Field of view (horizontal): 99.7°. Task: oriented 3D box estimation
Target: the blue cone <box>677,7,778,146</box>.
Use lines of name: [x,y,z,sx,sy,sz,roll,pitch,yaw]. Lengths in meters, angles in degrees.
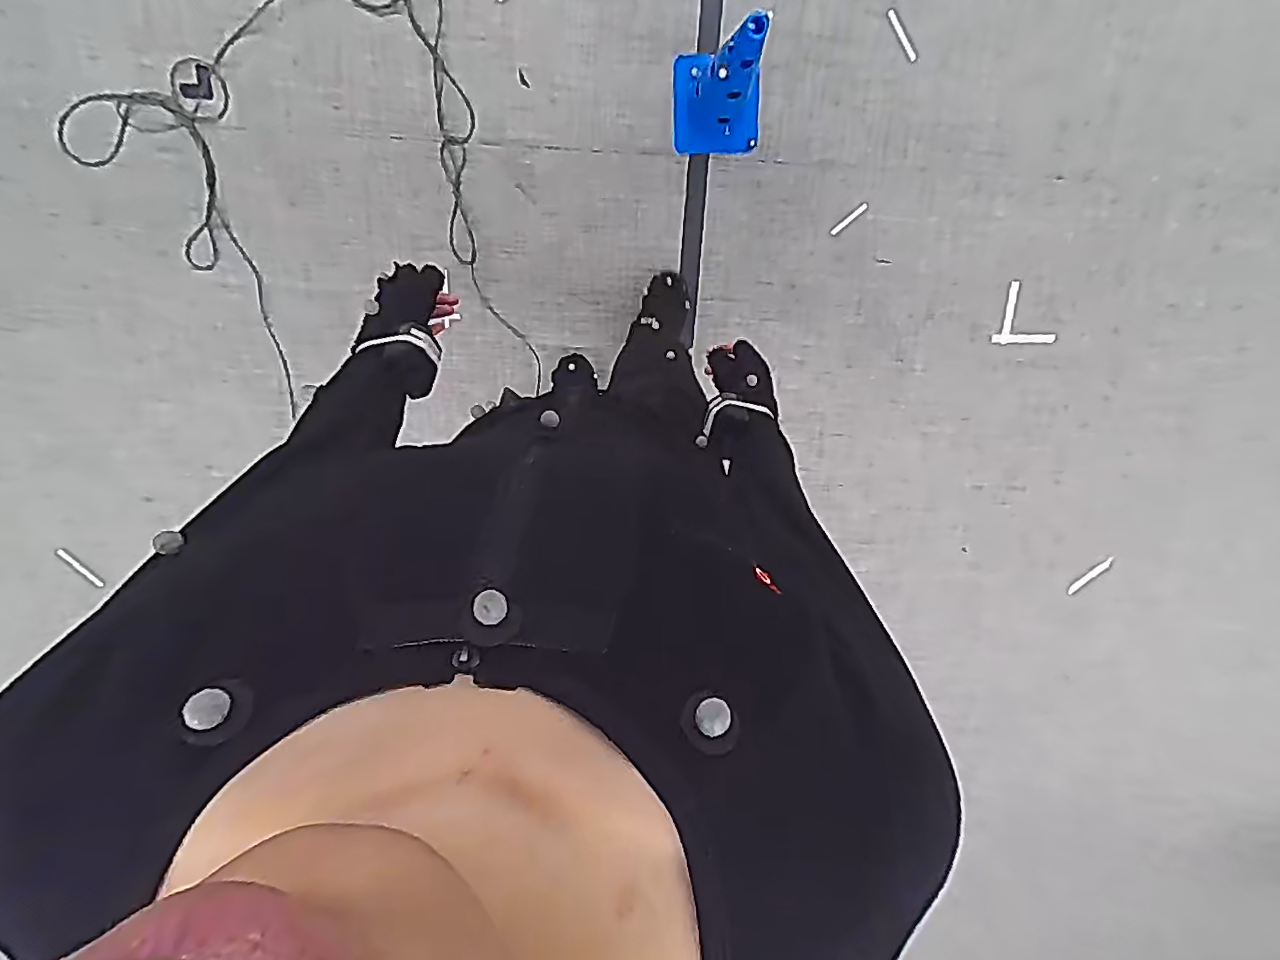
blue cone: [0.193,-0.835,1.093,0.192,0.380,0.193,-2,107,-4]
